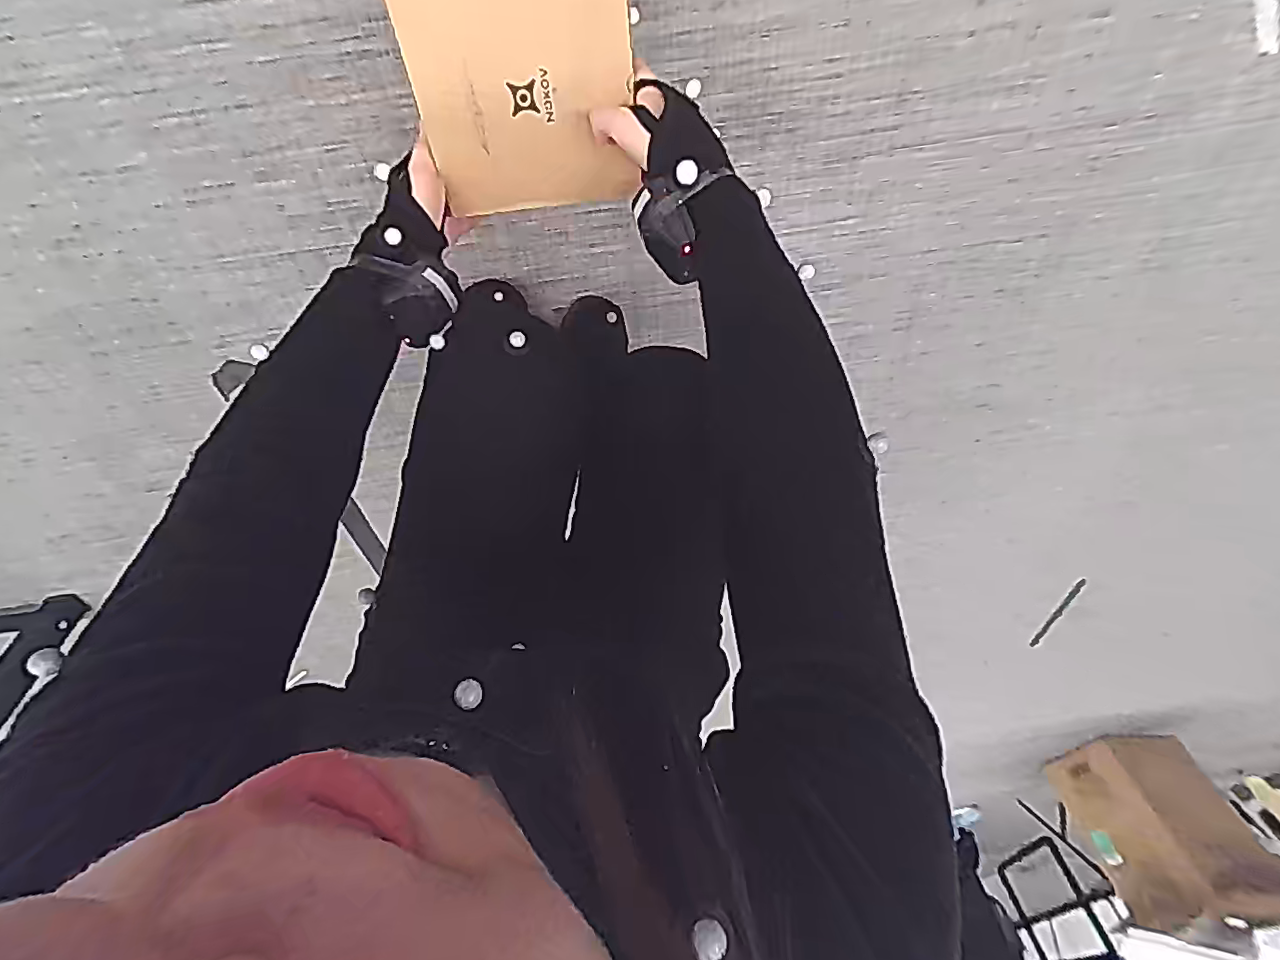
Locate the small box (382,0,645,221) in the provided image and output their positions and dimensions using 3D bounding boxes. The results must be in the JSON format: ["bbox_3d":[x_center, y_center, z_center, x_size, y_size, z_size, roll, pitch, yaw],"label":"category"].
[{"bbox_3d":[-0.096,-0.347,0.470,0.179,0.176,0.168,-7,134,-2],"label":"small box"}]
